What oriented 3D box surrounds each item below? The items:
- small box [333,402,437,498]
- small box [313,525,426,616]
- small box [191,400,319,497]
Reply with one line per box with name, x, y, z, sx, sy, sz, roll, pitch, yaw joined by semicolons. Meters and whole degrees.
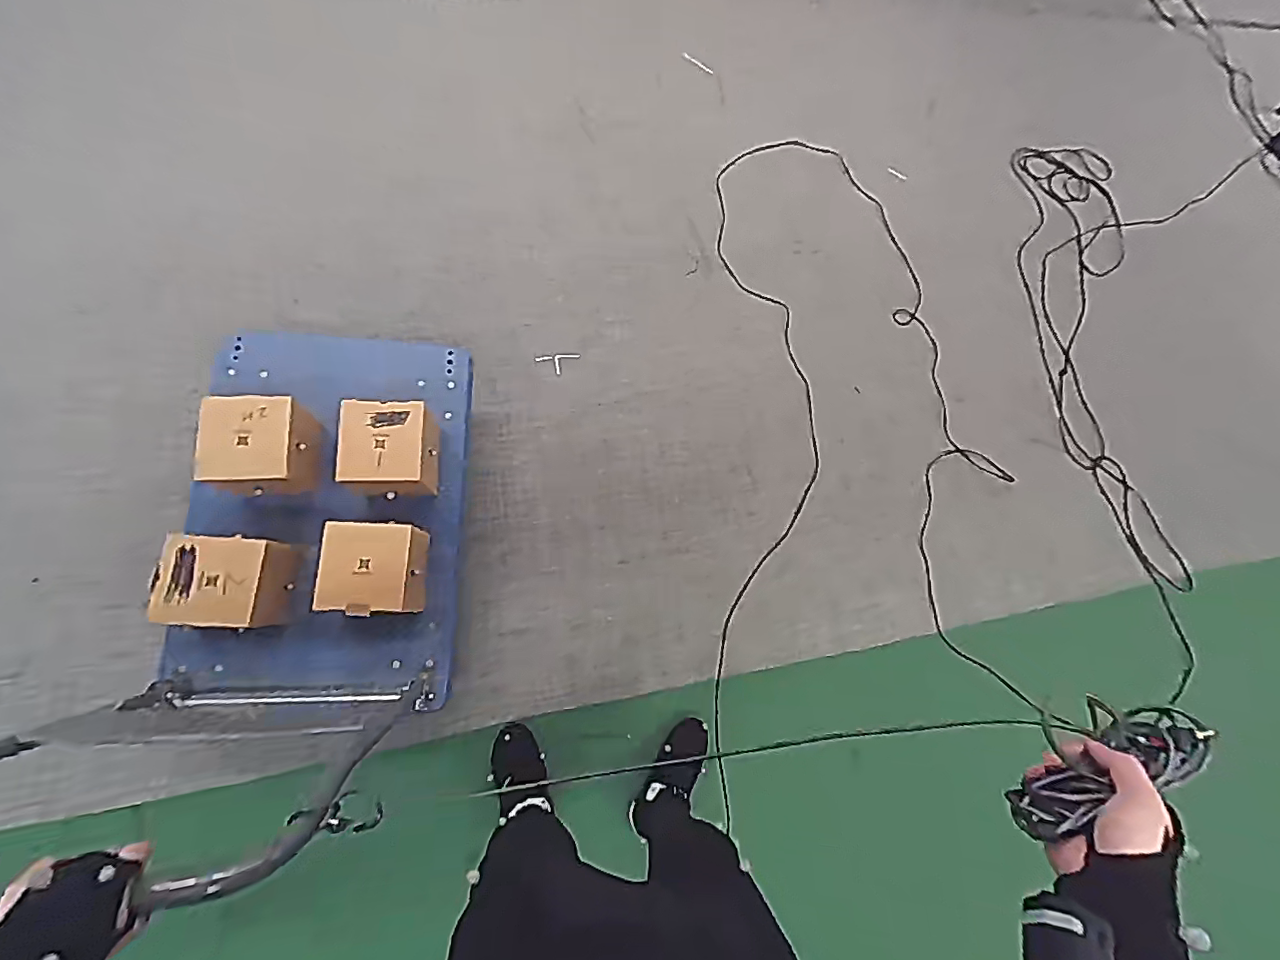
small box;-0.549;-0.060;1.187;0.168;0.176;0.179;0;79;-9
small box;-0.555;0.193;1.135;0.168;0.176;0.179;3;78;-9
small box;-0.802;-0.059;1.145;0.168;0.176;0.179;-2;78;-11
